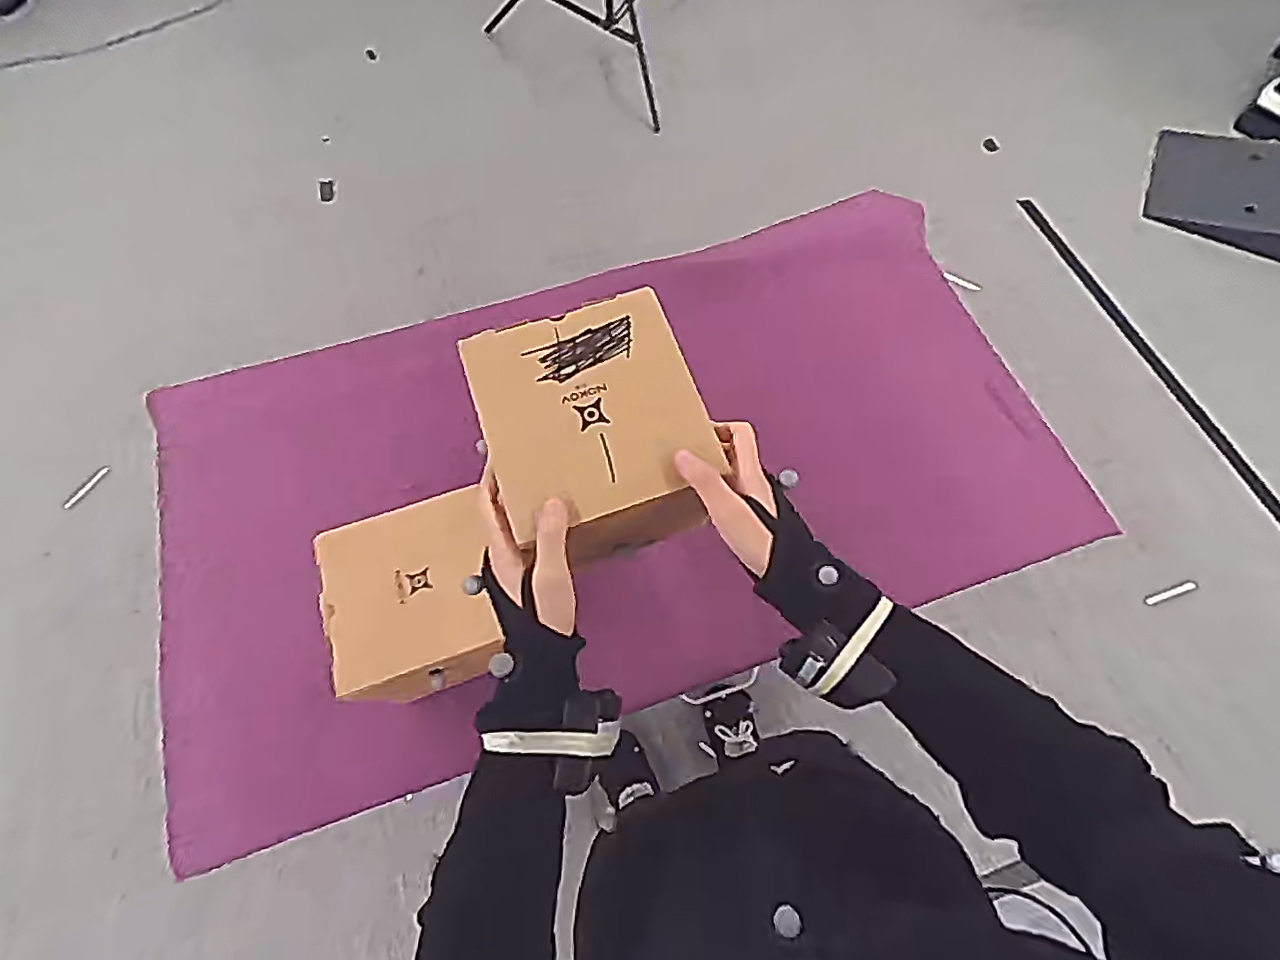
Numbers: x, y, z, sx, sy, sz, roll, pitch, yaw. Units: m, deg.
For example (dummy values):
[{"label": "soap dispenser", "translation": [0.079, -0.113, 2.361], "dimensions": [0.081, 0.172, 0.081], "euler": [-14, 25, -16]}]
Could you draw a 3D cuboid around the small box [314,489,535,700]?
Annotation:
[{"label": "small box", "translation": [-0.226, 0.134, 0.610], "dimensions": [0.179, 0.176, 0.168], "euler": [-19, 69, -8]}]

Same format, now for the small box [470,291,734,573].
[{"label": "small box", "translation": [-0.035, -0.032, 0.490], "dimensions": [0.168, 0.176, 0.179], "euler": [-19, 73, -6]}]
